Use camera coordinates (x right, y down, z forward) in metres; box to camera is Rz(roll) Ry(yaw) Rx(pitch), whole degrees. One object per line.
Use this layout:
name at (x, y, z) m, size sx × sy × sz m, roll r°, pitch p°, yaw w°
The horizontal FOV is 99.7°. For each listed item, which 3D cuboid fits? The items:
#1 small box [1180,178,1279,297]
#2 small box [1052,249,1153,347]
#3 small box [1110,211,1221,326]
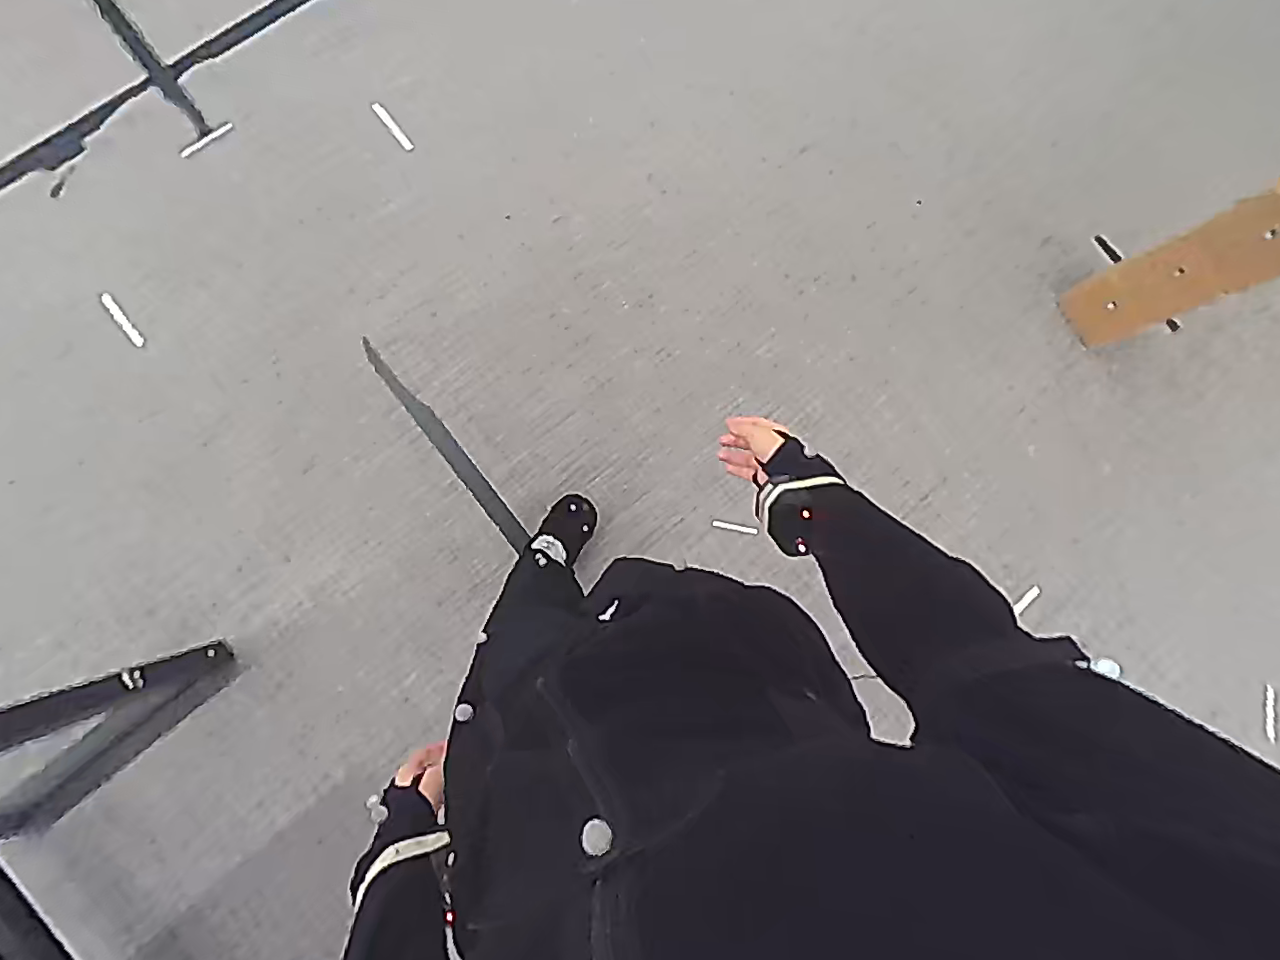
small box at (1.344, -0.532, 1.165) m, size 0.168 × 0.176 × 0.179 m, roll -32°, pitch 88°, yaw -7°
small box at (1.301, -0.487, 1.485) m, size 0.168 × 0.176 × 0.179 m, roll -32°, pitch 88°, yaw -8°
small box at (1.323, -0.510, 1.324) m, size 0.168 × 0.176 × 0.179 m, roll -29°, pitch 87°, yaw -7°
